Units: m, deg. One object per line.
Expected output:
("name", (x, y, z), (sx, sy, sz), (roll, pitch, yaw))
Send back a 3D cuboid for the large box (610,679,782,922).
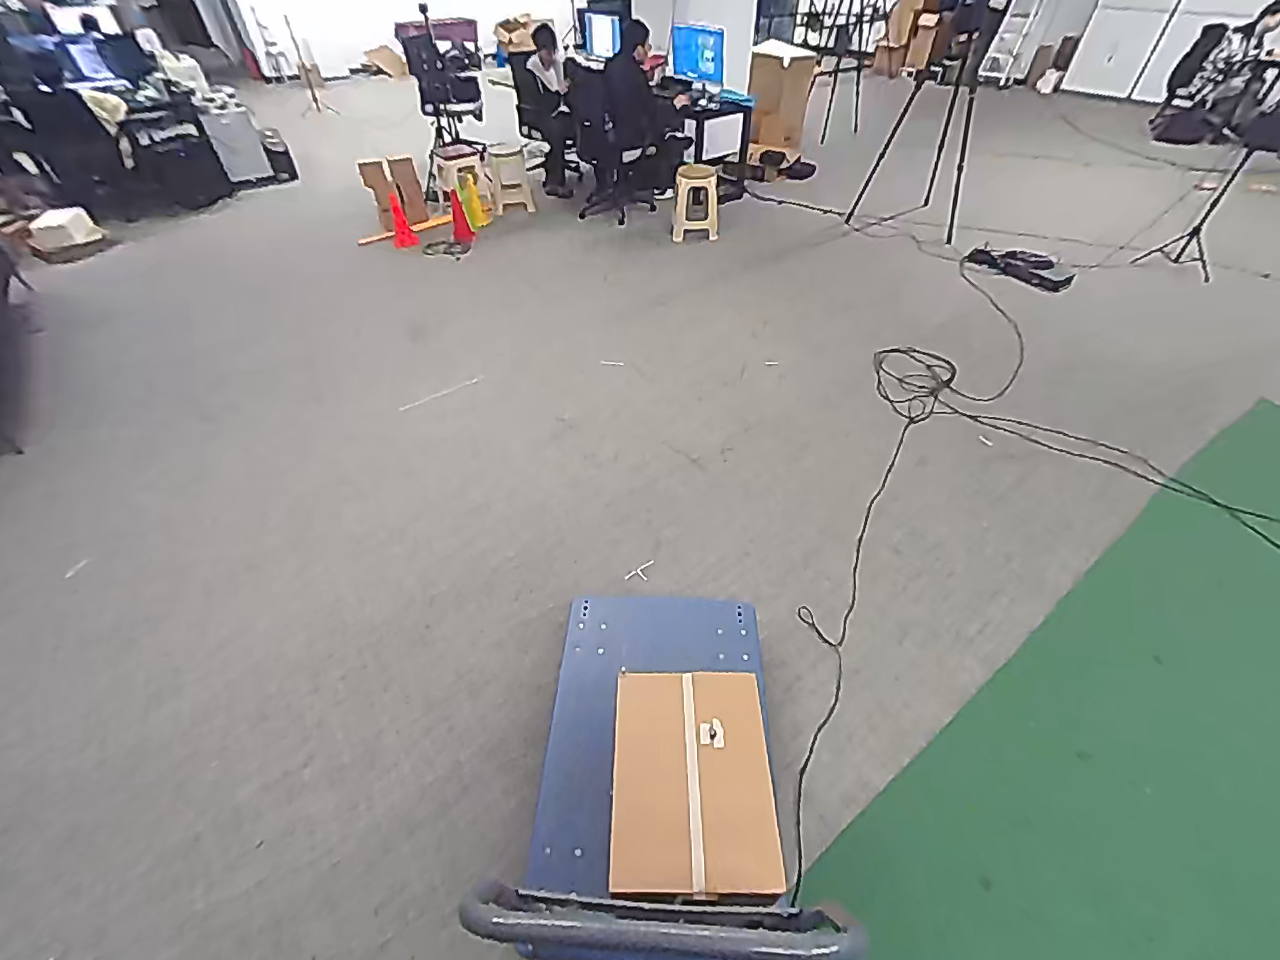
("large box", (0.103, 0.705, 1.201), (0.320, 0.320, 0.408), (0, 44, 0))
